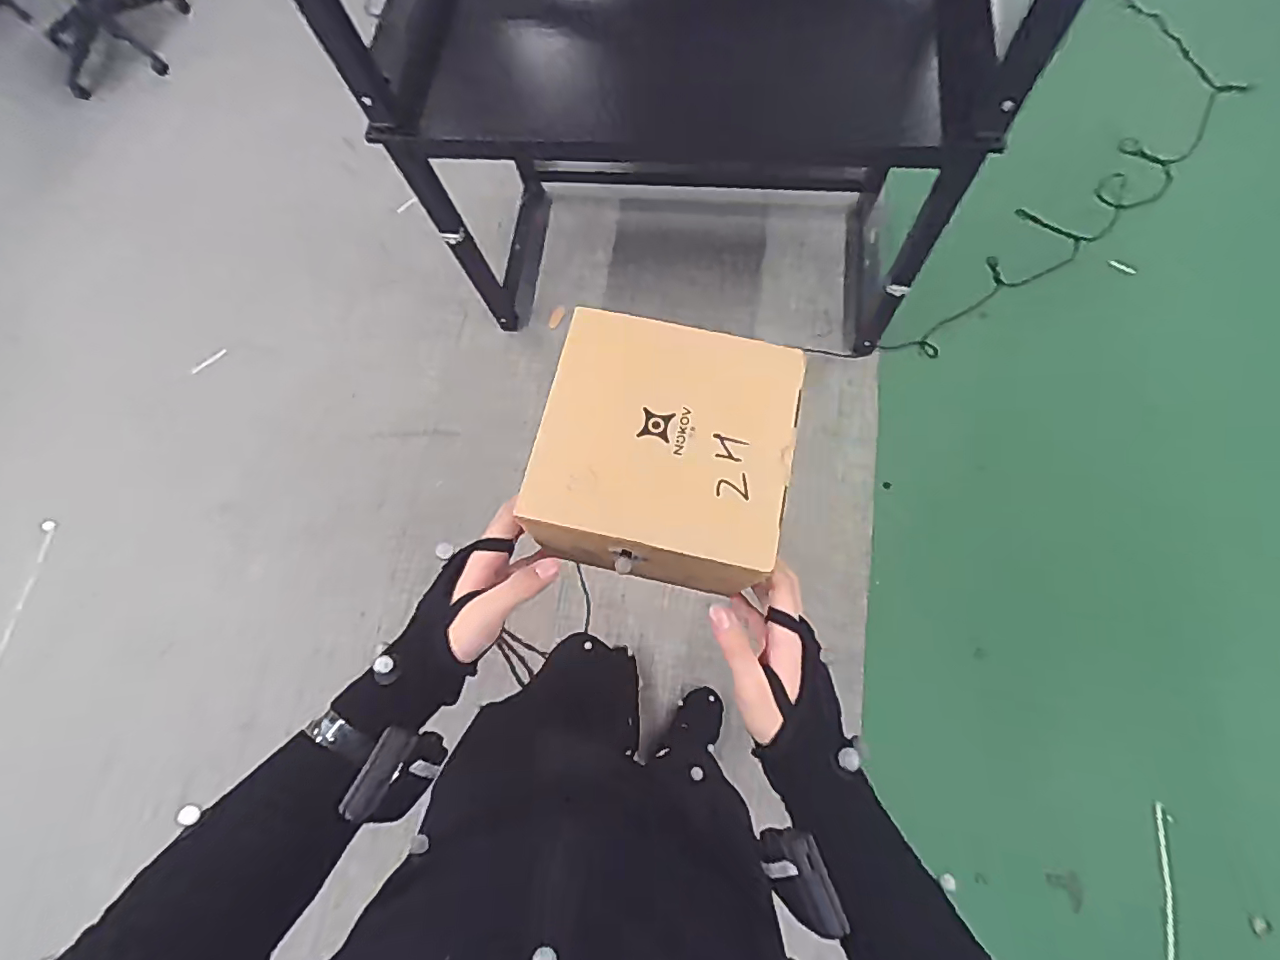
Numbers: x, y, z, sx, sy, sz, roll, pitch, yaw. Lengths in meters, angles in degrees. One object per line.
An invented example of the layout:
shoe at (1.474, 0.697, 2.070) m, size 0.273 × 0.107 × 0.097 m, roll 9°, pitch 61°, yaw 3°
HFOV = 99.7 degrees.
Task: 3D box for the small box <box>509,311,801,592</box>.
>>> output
small box at (0.015, -0.009, 0.449) m, size 0.179 × 0.176 × 0.168 m, roll 12°, pitch 73°, yaw 3°
